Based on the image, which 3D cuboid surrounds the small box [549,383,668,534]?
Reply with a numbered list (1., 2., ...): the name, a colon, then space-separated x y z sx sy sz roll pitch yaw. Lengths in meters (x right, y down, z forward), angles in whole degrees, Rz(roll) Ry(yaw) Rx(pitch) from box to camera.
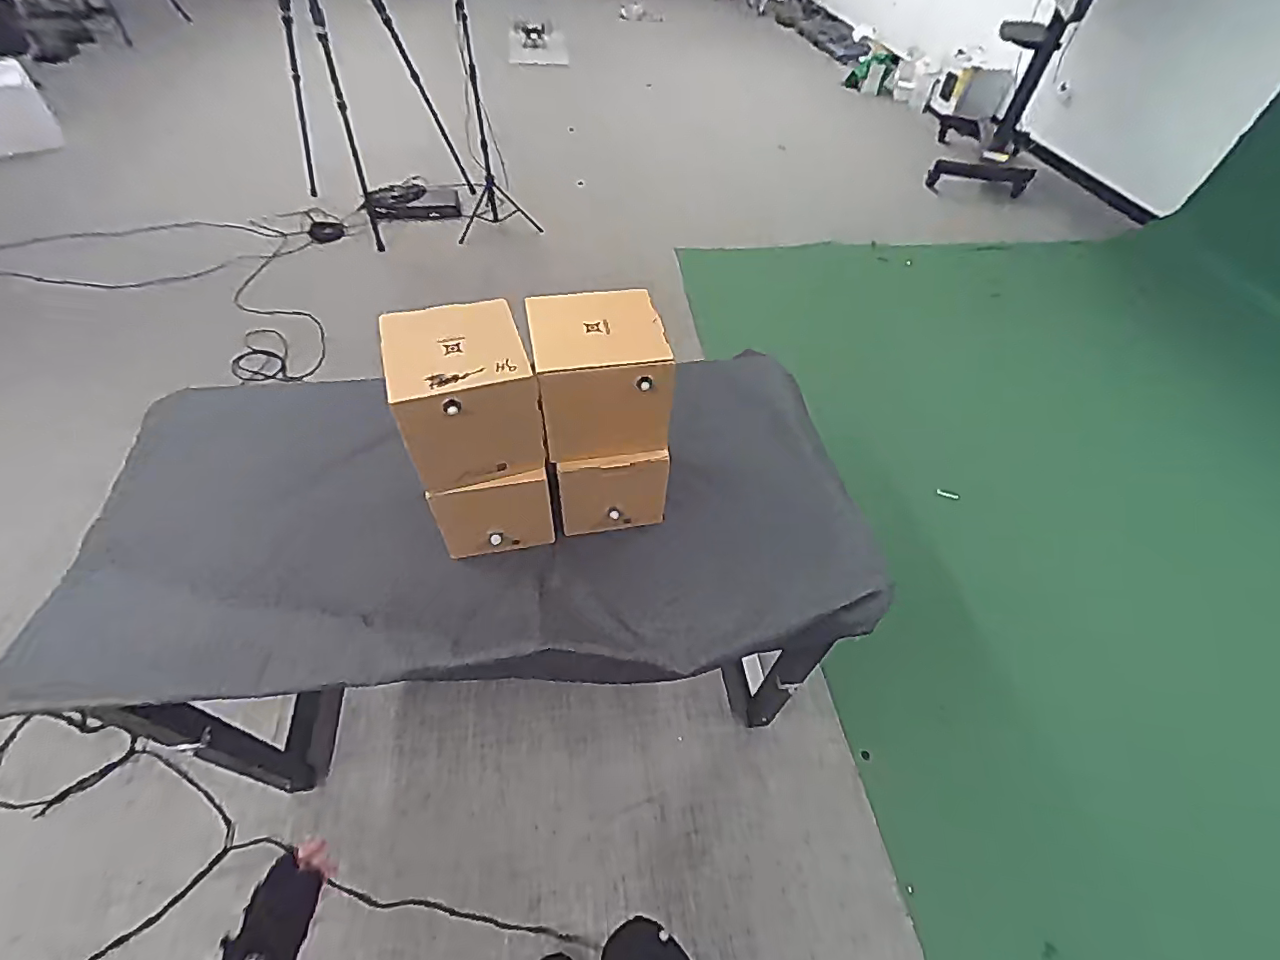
1. small box: -0.057 -0.035 0.890 0.168 0.176 0.179 -8 52 -8
